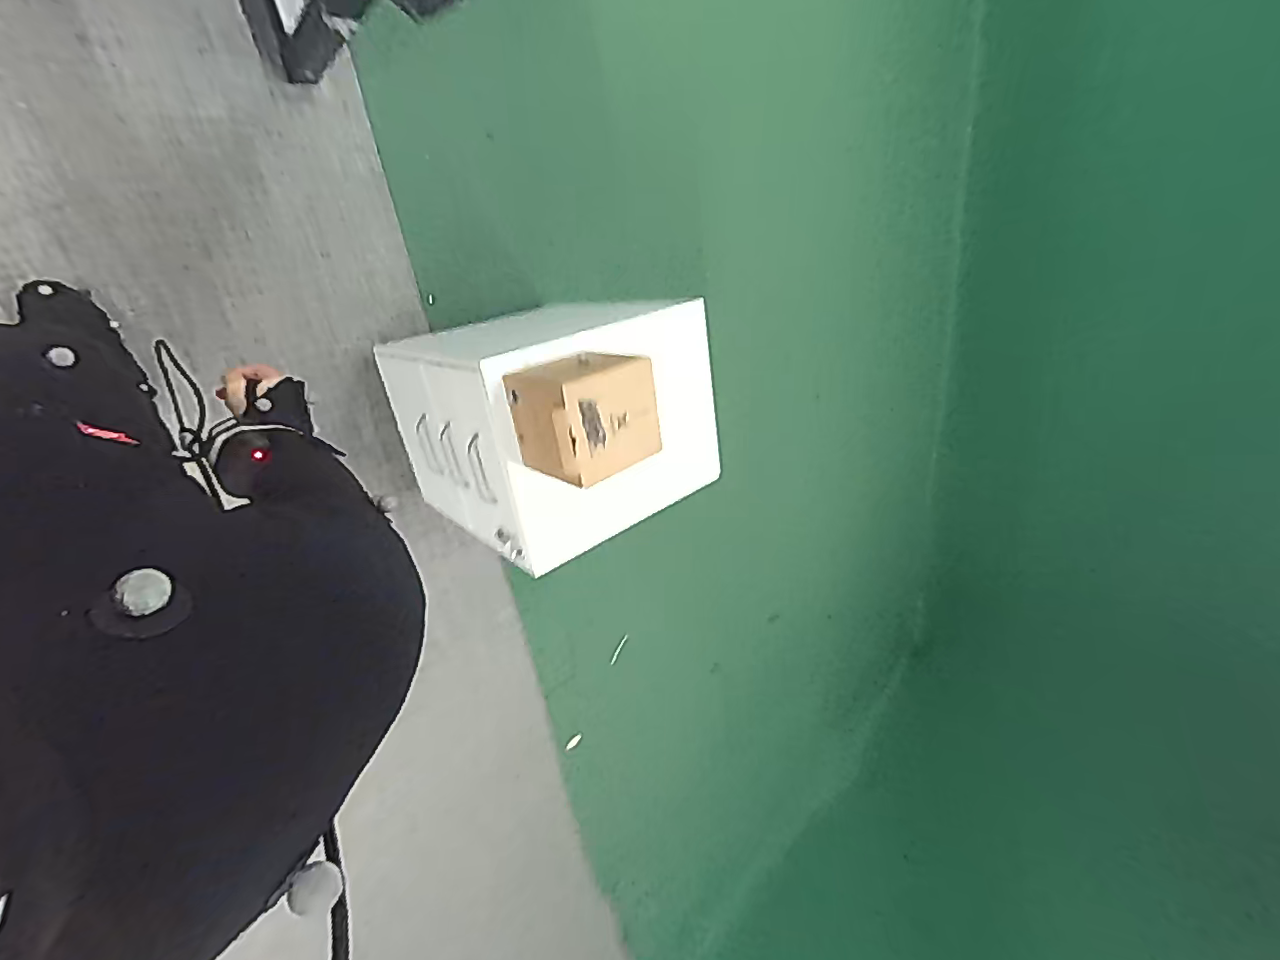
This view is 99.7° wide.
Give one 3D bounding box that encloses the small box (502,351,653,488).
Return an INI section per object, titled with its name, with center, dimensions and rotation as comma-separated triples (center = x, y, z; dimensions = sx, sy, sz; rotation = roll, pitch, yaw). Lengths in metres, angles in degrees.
[small box]
center = -0.105, -0.107, 0.874
dimensions = 0.179, 0.176, 0.168
rotation = -27, 121, -36
